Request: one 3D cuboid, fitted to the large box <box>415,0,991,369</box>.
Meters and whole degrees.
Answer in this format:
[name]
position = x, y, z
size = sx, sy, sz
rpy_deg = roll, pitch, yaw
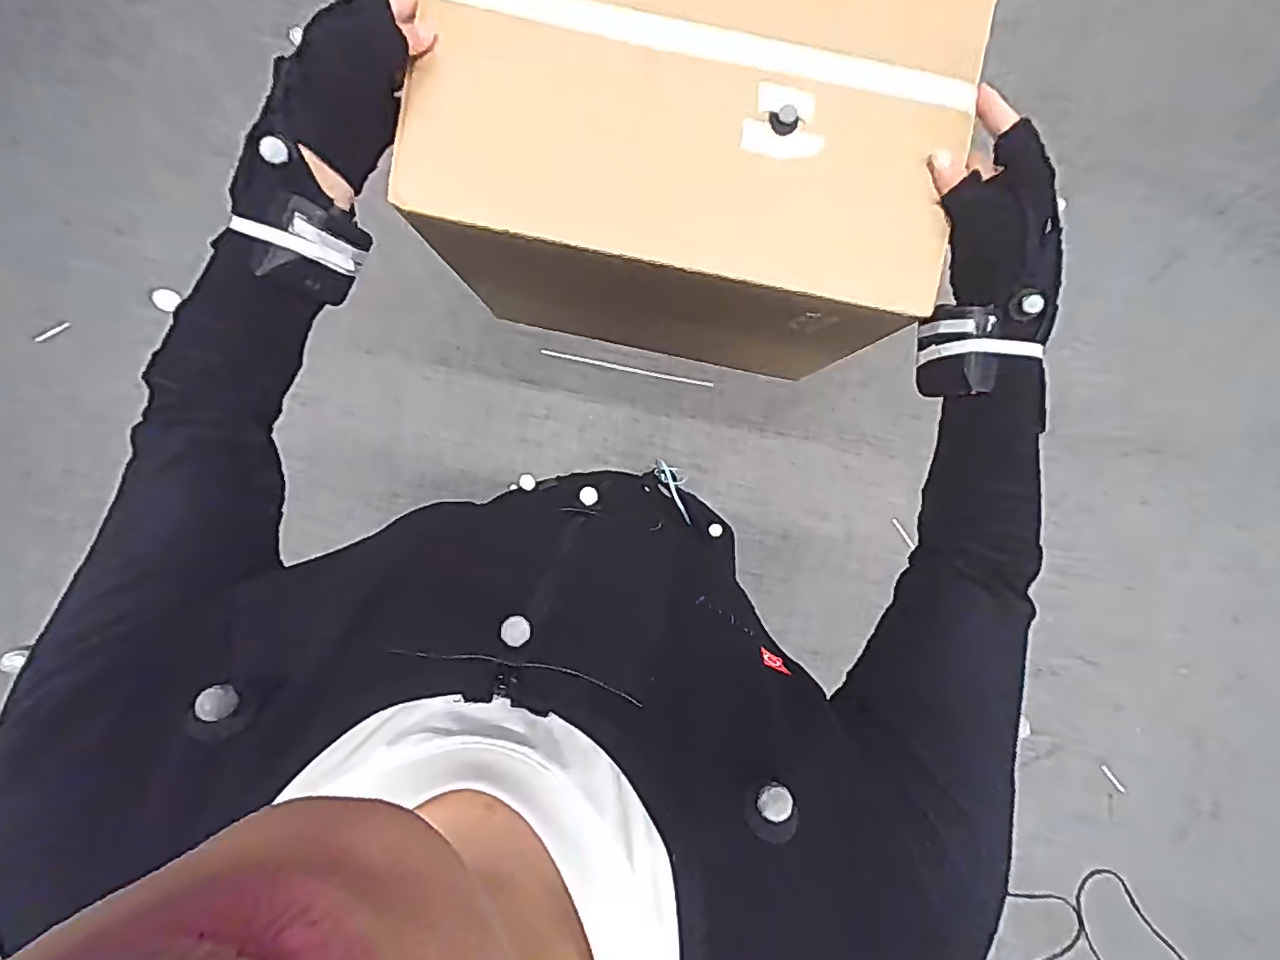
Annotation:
[large box]
position = 0.048, -0.322, 0.550
size = 0.408, 0.320, 0.320
rpy_deg = 11, 93, -2
